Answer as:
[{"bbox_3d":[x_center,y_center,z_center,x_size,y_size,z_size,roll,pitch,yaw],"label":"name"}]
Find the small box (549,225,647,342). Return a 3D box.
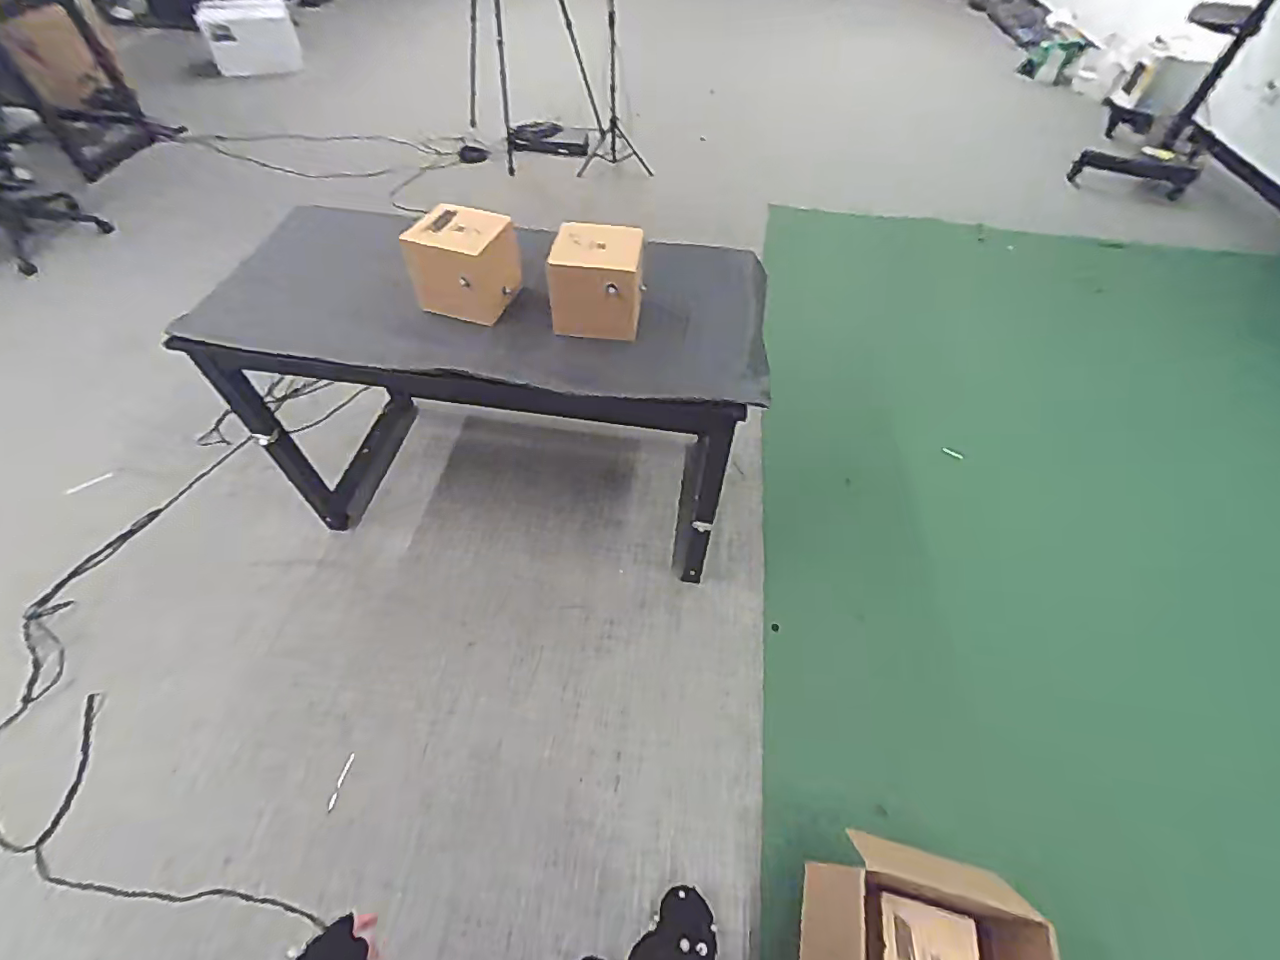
[{"bbox_3d":[-0.083,-0.413,1.151,0.179,0.176,0.168,6,52,3],"label":"small box"}]
